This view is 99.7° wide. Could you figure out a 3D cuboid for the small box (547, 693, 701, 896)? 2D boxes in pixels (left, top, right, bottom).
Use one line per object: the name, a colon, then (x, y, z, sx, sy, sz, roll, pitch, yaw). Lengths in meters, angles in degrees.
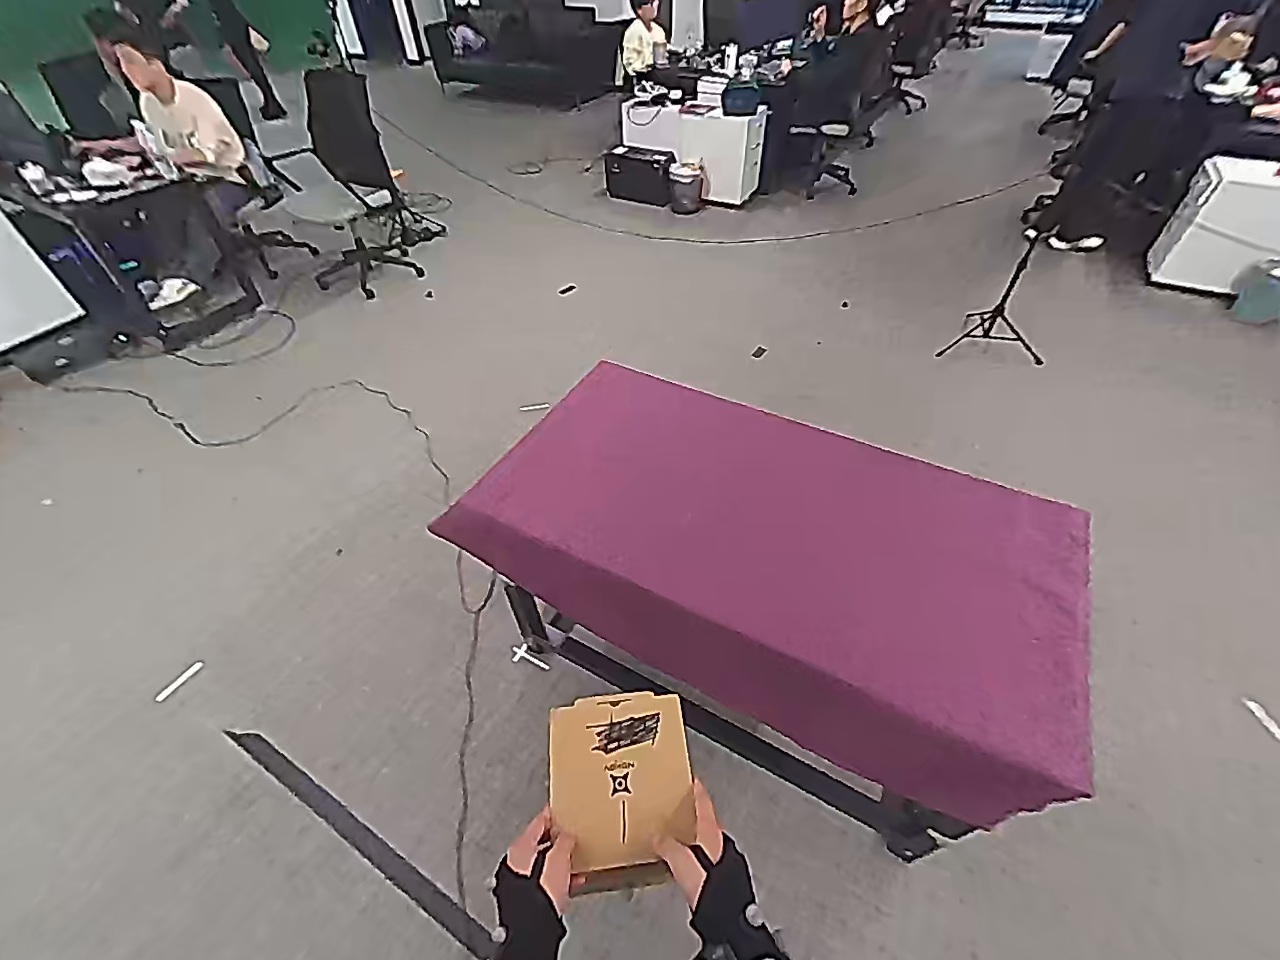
small box: (-0.024, 0.394, 0.679, 0.168, 0.176, 0.179, -6, 47, -4)
